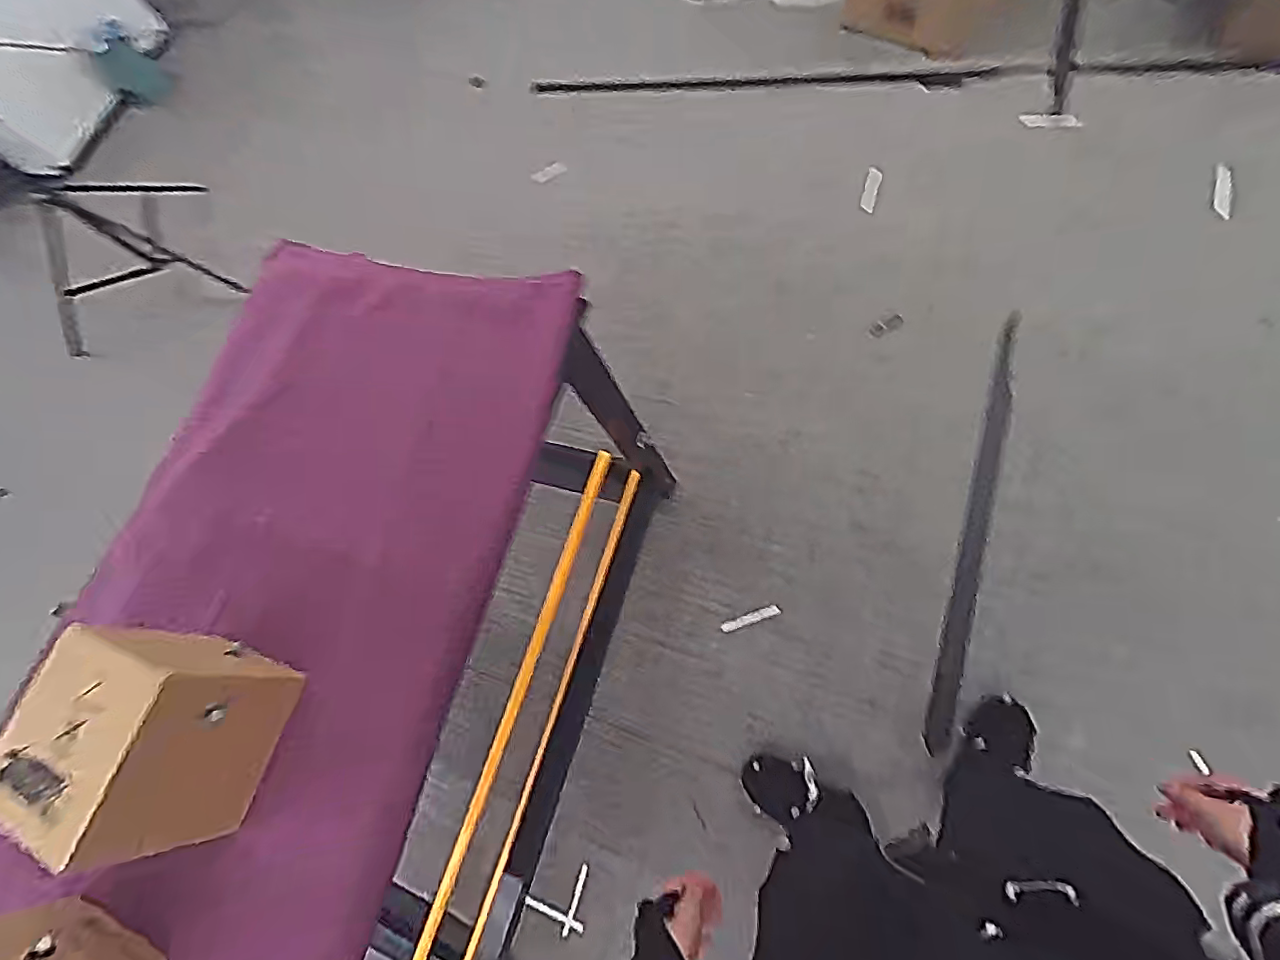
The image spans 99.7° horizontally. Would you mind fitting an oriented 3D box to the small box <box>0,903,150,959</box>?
[{"bbox_3d":[-0.626,0.552,0.515,0.168,0.176,0.179,10,71,19],"label":"small box"}]
